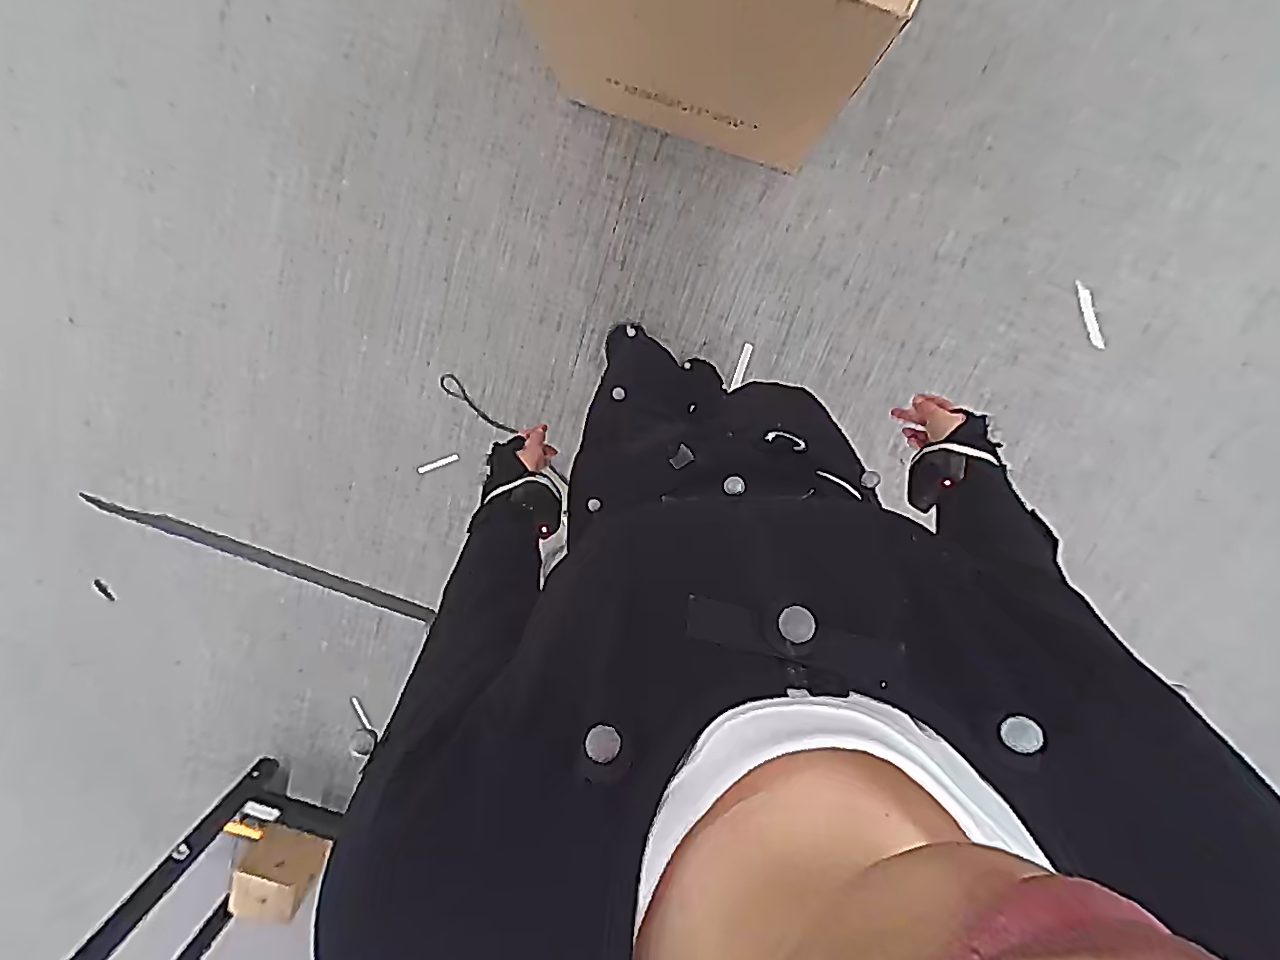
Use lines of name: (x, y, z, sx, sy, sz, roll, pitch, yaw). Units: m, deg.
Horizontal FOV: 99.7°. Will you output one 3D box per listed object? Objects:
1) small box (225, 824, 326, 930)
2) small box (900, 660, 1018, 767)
small box: (-1.048, 1.141, 1.566, 0.179, 0.176, 0.168, 17, 105, -2)
small box: (0.821, 0.601, 1.411, 0.179, 0.176, 0.168, 18, 106, 0)
